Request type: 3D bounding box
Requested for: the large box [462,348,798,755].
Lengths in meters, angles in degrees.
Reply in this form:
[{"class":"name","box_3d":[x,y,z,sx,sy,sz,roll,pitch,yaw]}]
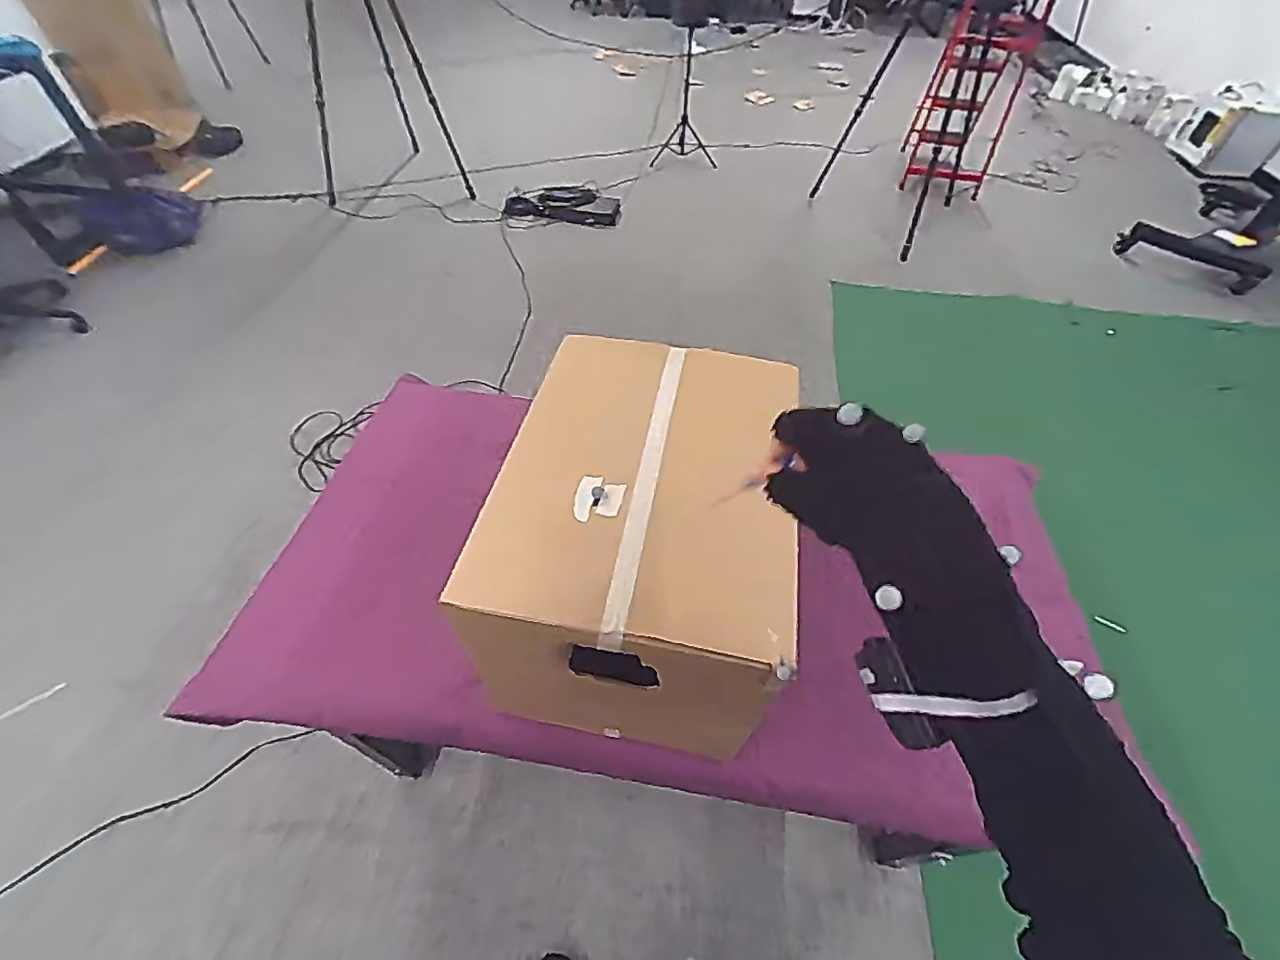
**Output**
[{"class":"large box","box_3d":[0.013,0.087,0.717,0.320,0.320,0.408,10,51,6]}]
